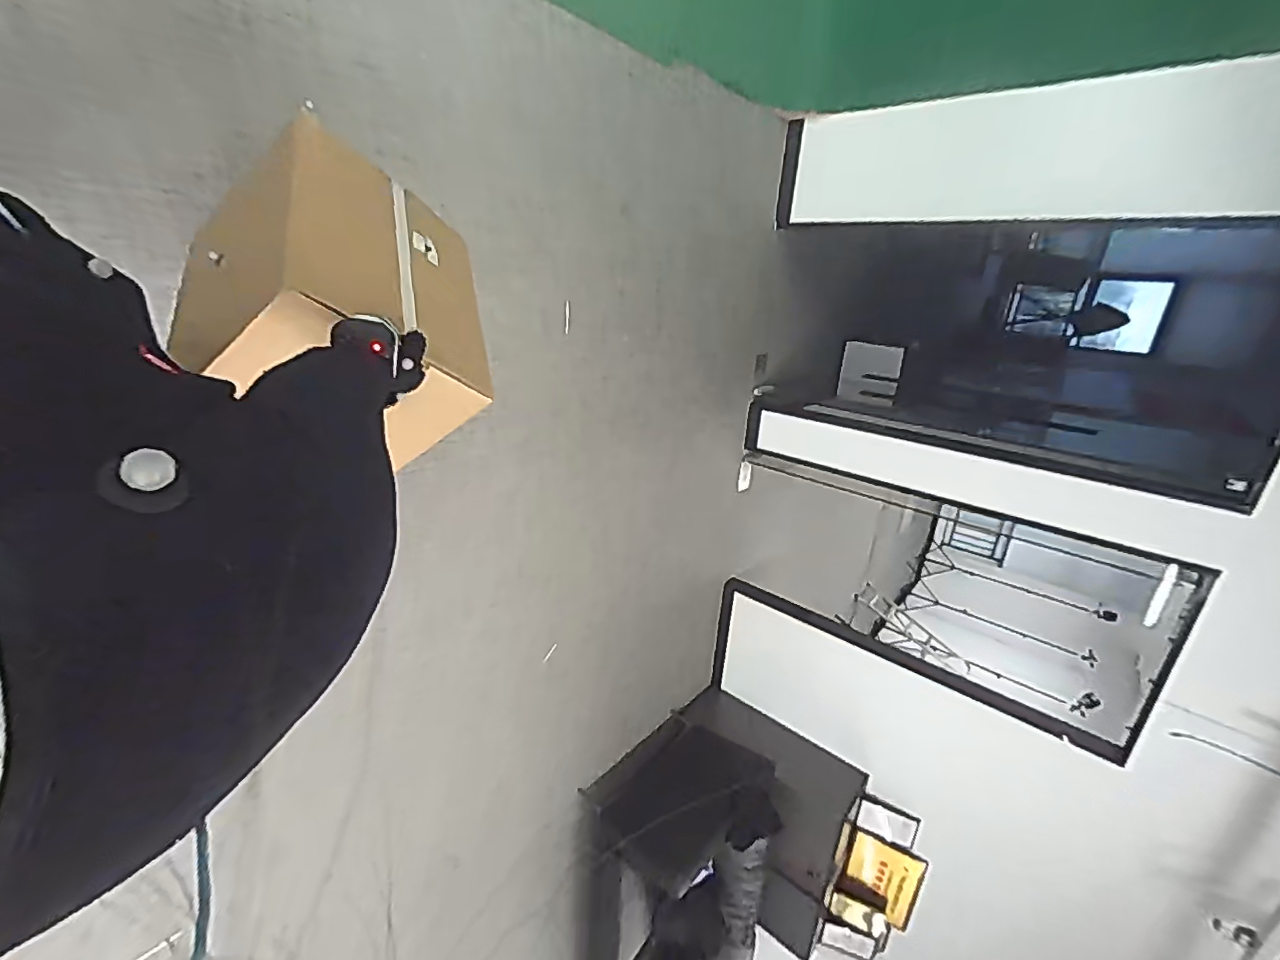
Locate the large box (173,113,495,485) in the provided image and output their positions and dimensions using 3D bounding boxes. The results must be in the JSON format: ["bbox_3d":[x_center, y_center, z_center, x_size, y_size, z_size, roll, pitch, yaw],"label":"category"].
[{"bbox_3d":[-0.481,-0.260,0.872,0.320,0.408,0.320,-30,149,20],"label":"large box"}]
